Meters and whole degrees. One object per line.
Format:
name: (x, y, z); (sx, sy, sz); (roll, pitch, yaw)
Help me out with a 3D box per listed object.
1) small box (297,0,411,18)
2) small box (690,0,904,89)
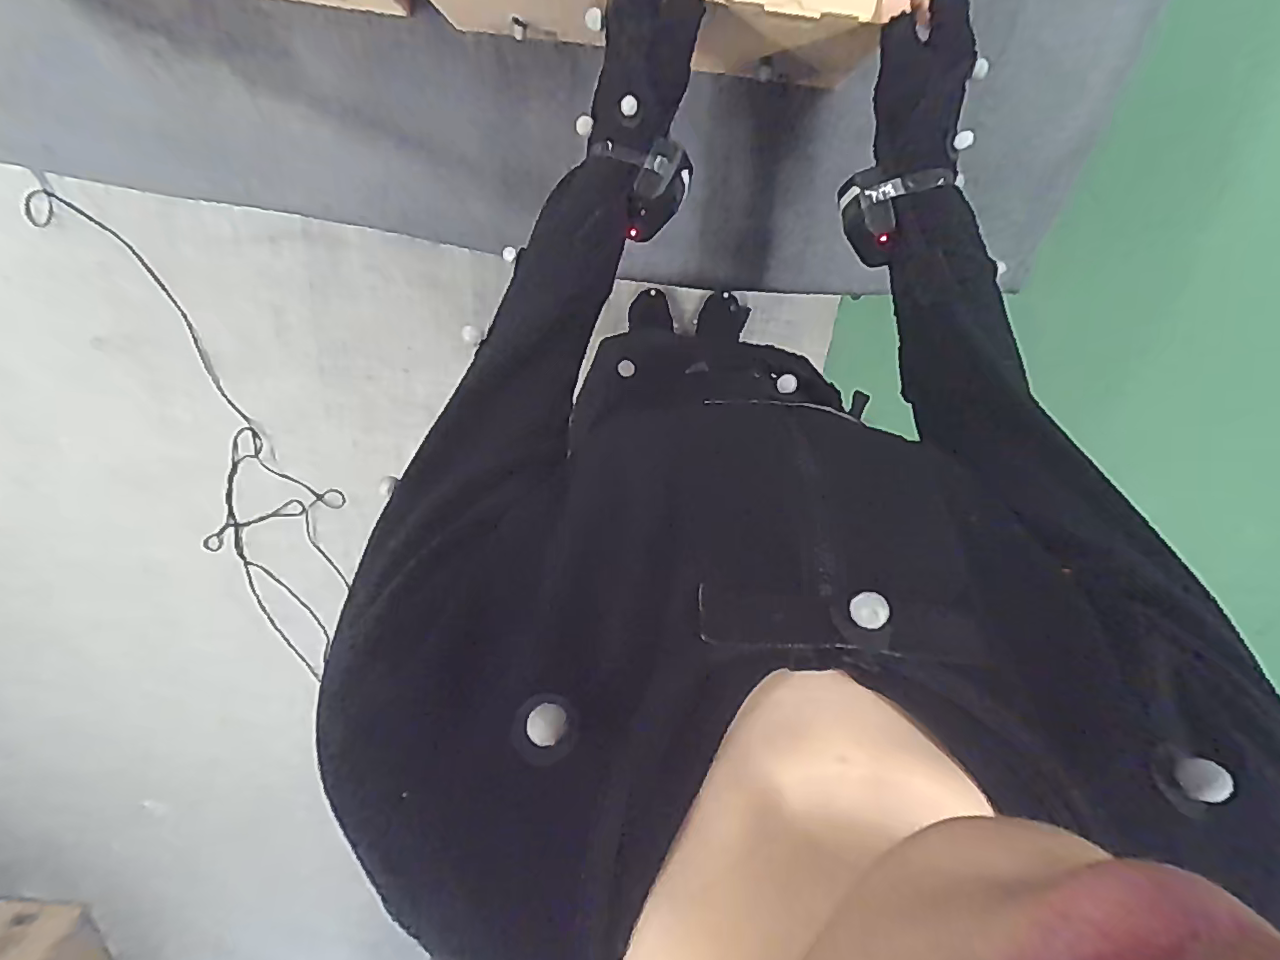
small box: (-0.309, -0.540, 0.462); (0.168, 0.176, 0.179); (8, 111, 0)
small box: (0.135, -0.470, 0.461); (0.168, 0.176, 0.179); (8, 112, 1)
